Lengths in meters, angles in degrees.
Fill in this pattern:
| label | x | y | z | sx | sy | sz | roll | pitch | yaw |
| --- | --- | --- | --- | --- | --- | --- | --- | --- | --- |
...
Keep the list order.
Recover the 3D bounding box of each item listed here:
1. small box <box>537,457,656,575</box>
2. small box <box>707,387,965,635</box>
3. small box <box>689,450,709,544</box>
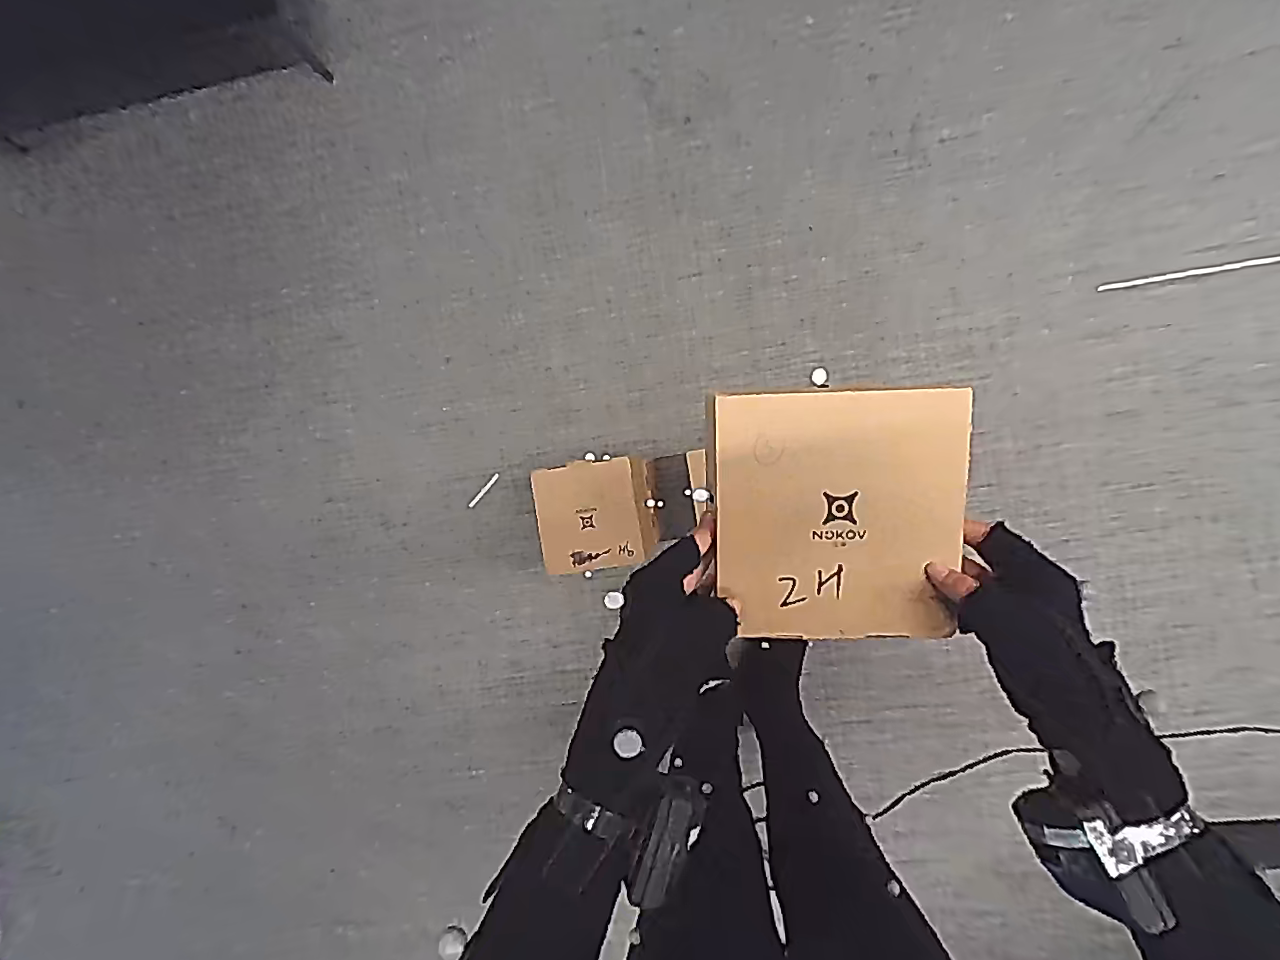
| label | x | y | z | sx | sy | sz | roll | pitch | yaw |
| --- | --- | --- | --- | --- | --- | --- | --- | --- | --- |
| small box | -0.068 | 0.059 | 0.949 | 0.168 | 0.176 | 0.179 | -8 | 90 | 7 |
| small box | 0.143 | 0.013 | 0.456 | 0.168 | 0.176 | 0.179 | -1 | 100 | 6 |
| small box | 0.193 | 0.021 | 1.080 | 0.168 | 0.176 | 0.179 | -9 | 90 | 7 |
